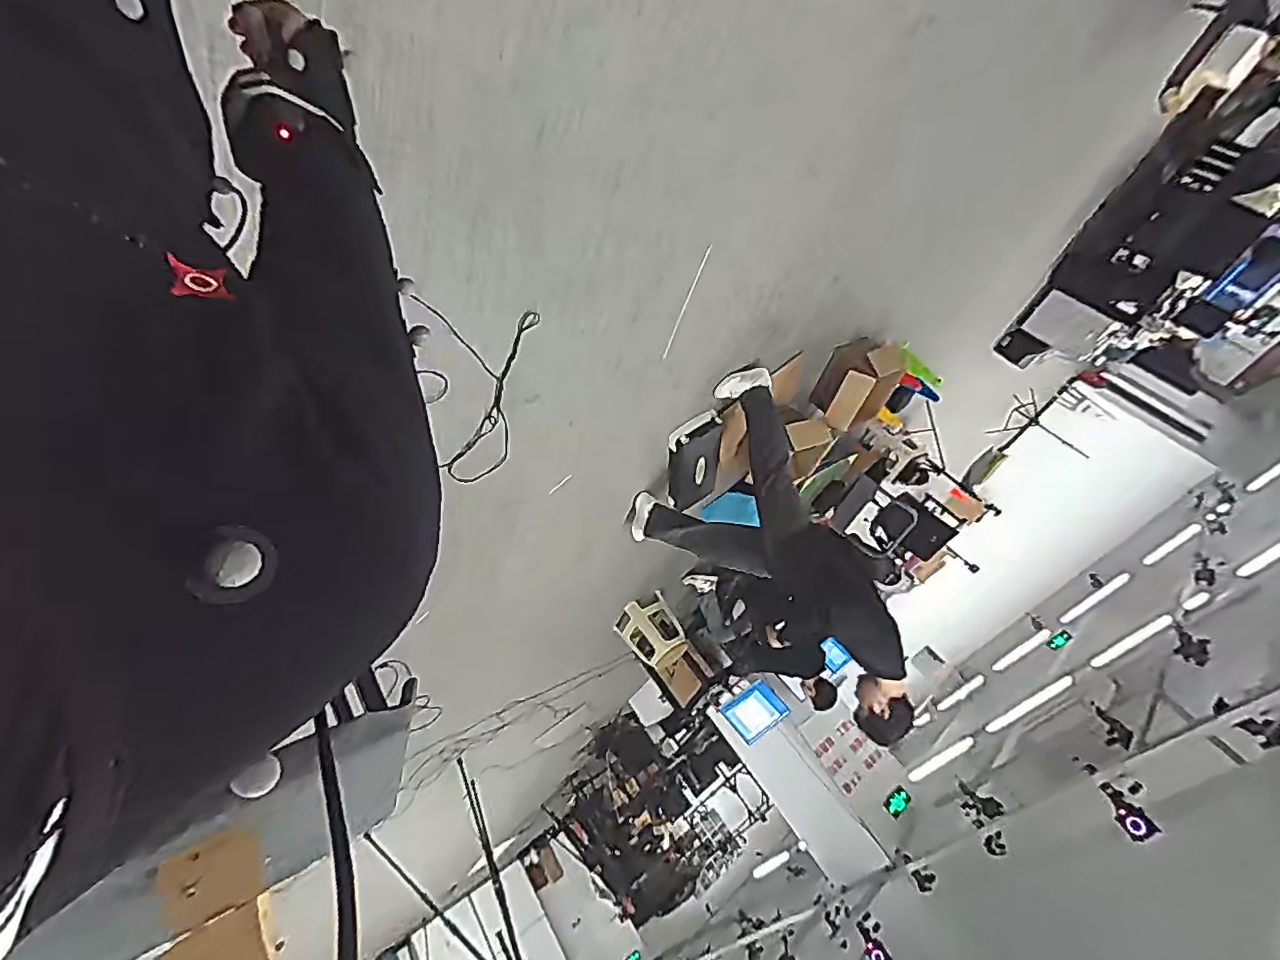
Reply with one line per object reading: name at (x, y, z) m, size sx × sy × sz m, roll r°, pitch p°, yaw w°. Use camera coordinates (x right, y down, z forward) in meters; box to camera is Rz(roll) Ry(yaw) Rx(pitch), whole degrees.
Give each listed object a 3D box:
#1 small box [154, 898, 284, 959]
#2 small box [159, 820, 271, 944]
small box at (-0.854, 1.009, 1.112) m, size 0.179 × 0.176 × 0.168 m, roll -18°, pitch 145°, yaw -35°
small box at (-0.935, 0.895, 1.196) m, size 0.168 × 0.176 × 0.179 m, roll -13°, pitch 142°, yaw -40°
